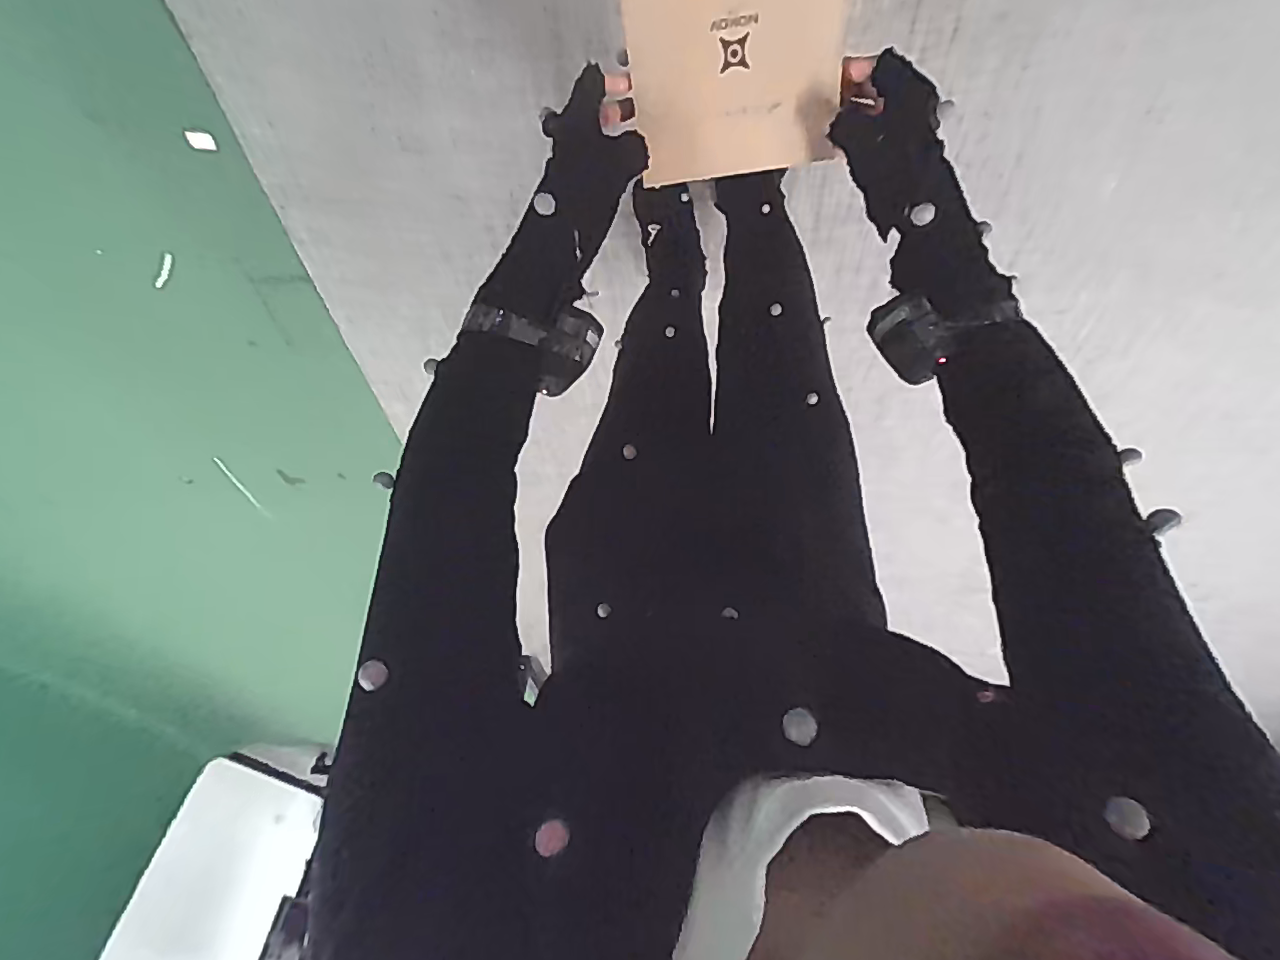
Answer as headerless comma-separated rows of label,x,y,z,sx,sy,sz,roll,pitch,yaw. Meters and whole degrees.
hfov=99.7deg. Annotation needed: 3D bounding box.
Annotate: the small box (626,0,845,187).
small box,0.082,-0.389,0.486,0.168,0.176,0.179,-4,130,10
